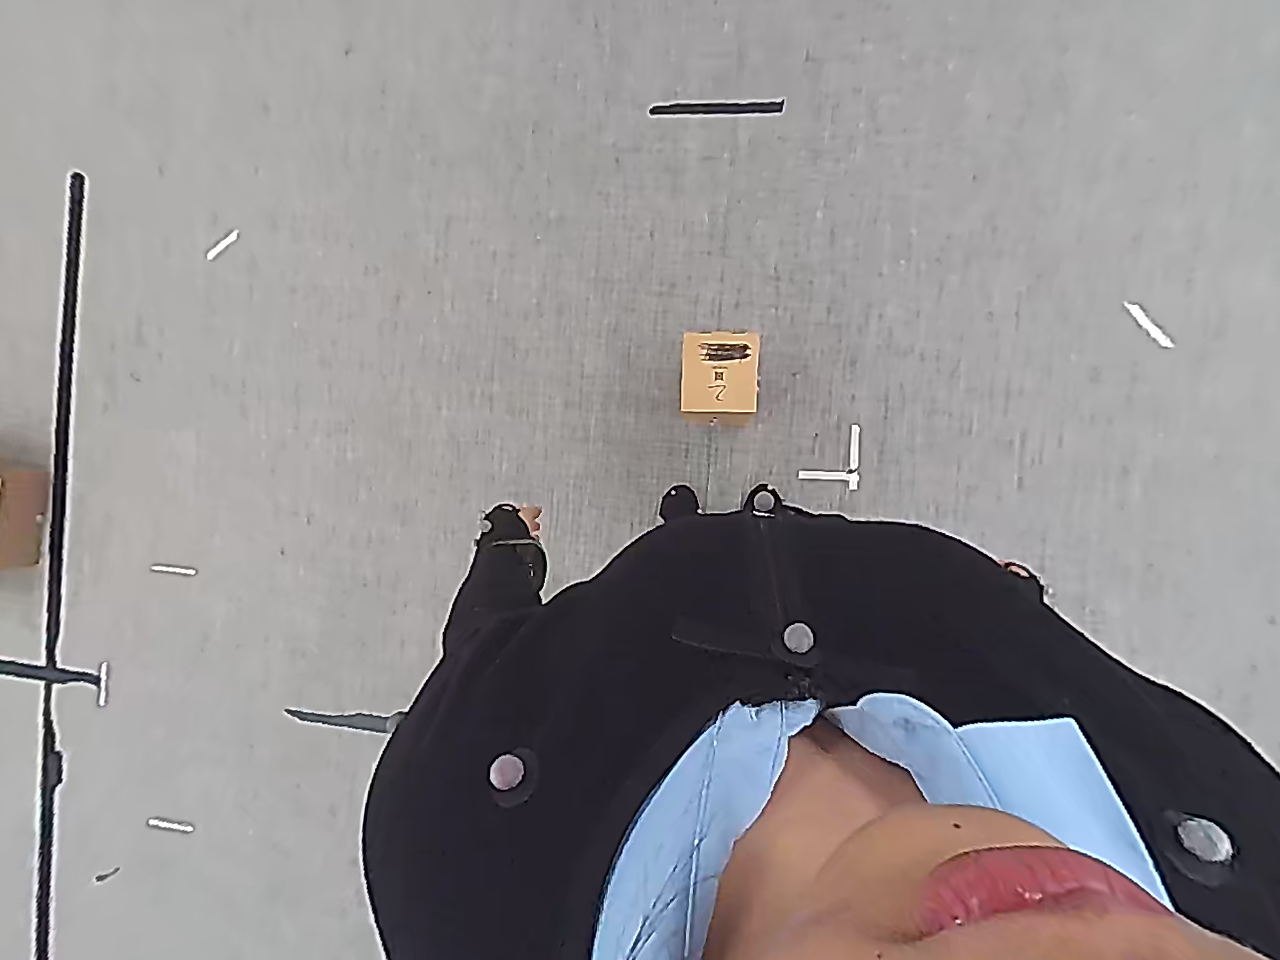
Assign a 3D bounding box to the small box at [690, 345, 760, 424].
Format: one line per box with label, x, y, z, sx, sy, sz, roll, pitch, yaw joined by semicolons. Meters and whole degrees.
small box;0.216;-0.243;1.411;0.168;0.176;0.179;3;91;6
